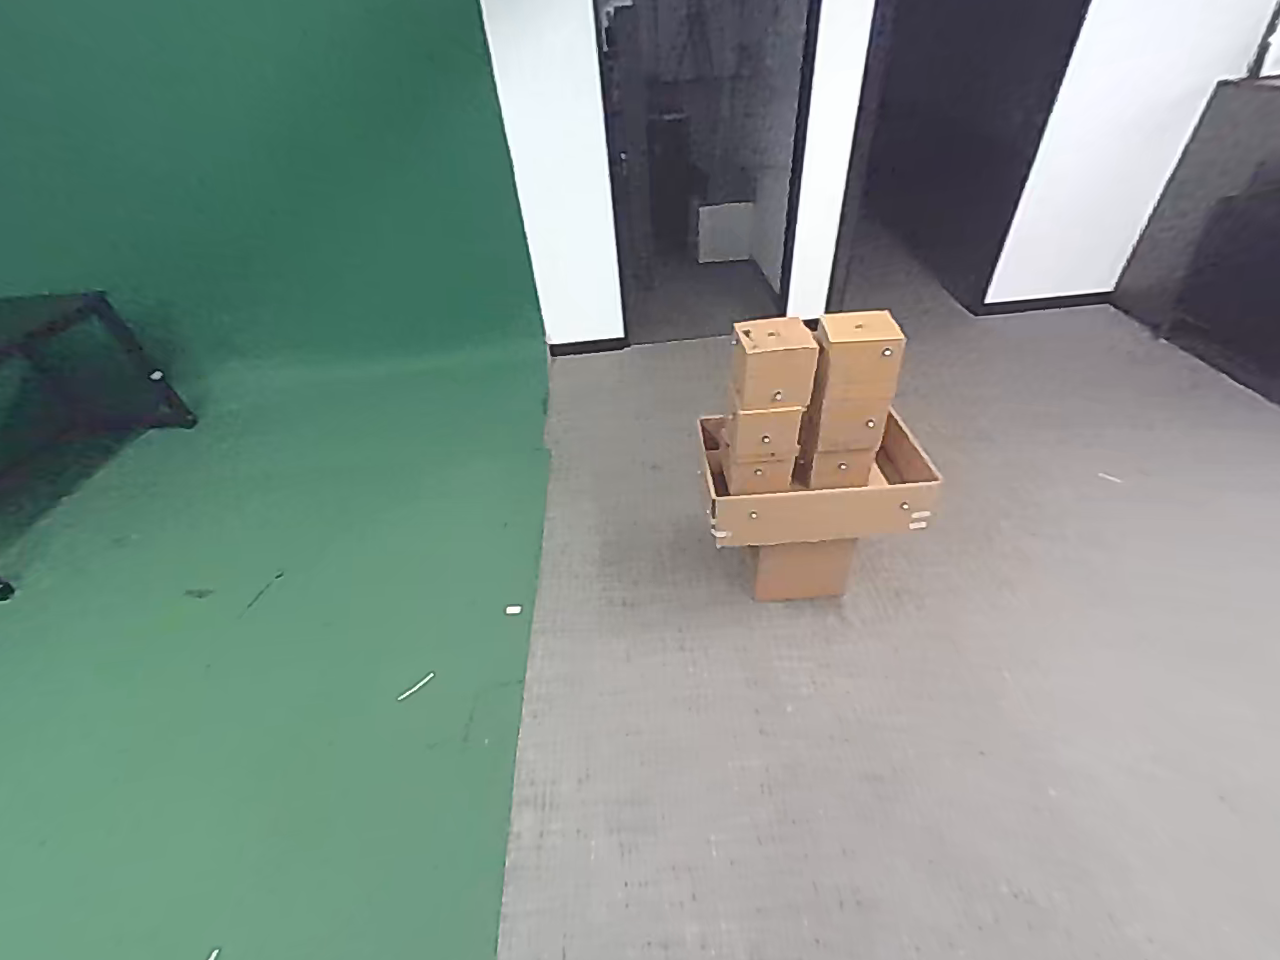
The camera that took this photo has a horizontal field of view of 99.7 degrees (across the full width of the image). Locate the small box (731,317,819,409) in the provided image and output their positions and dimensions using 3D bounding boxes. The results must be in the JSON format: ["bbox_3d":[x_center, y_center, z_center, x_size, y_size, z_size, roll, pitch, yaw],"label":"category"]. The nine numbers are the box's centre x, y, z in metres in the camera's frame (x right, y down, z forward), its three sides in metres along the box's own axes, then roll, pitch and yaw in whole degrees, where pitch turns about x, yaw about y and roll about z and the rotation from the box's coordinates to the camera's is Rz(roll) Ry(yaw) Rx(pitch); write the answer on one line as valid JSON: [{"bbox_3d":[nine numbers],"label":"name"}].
[{"bbox_3d":[0.337,-0.298,1.387,0.179,0.176,0.168,-5,41,-1],"label":"small box"}]
